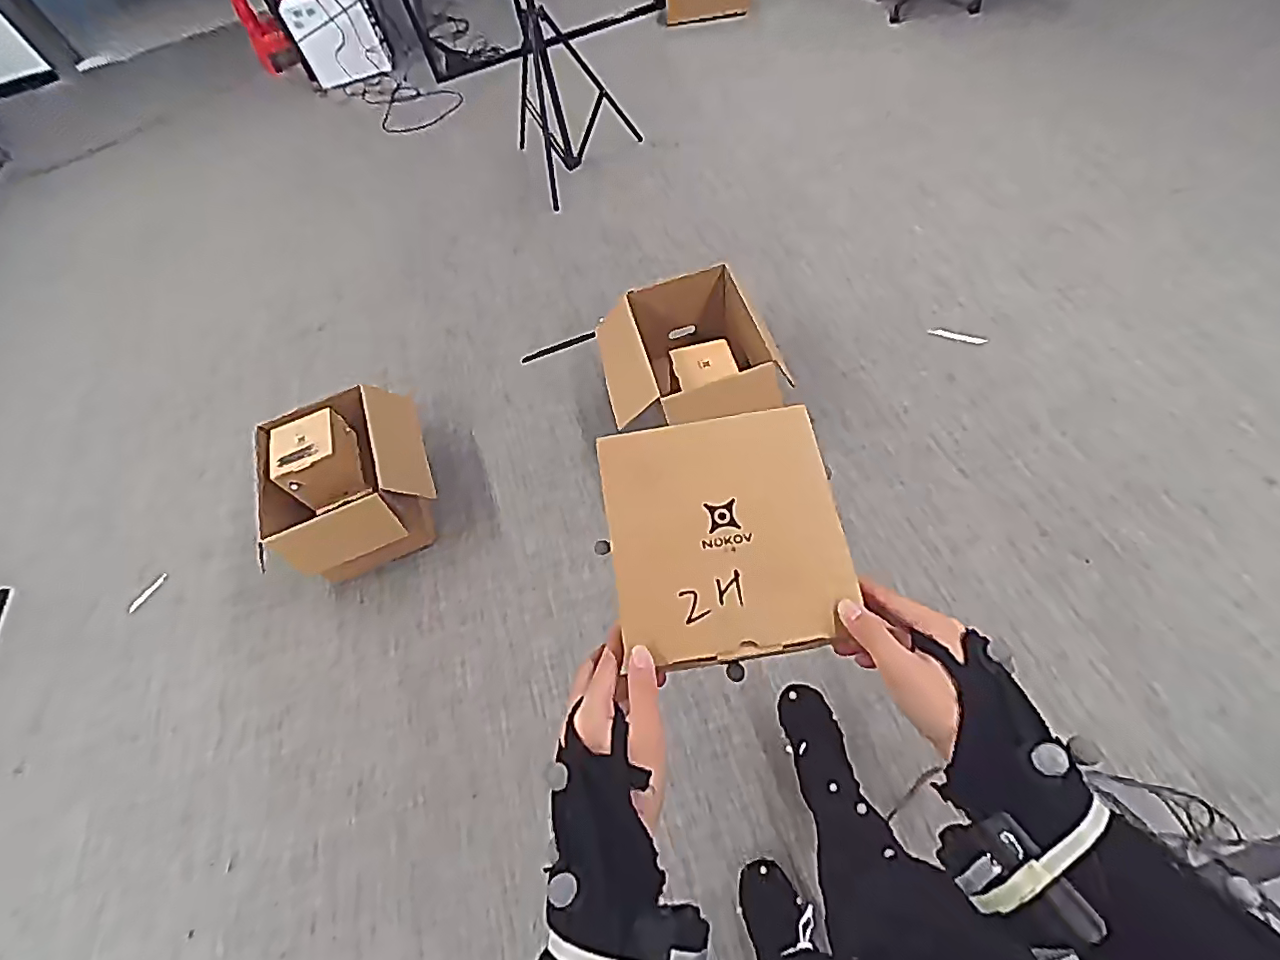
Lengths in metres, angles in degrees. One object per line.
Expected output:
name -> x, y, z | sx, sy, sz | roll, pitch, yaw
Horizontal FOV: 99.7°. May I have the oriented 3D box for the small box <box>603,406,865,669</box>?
small box -> 0.065, 0.060, 0.469 | 0.168, 0.176, 0.179 | -9, 69, 1
